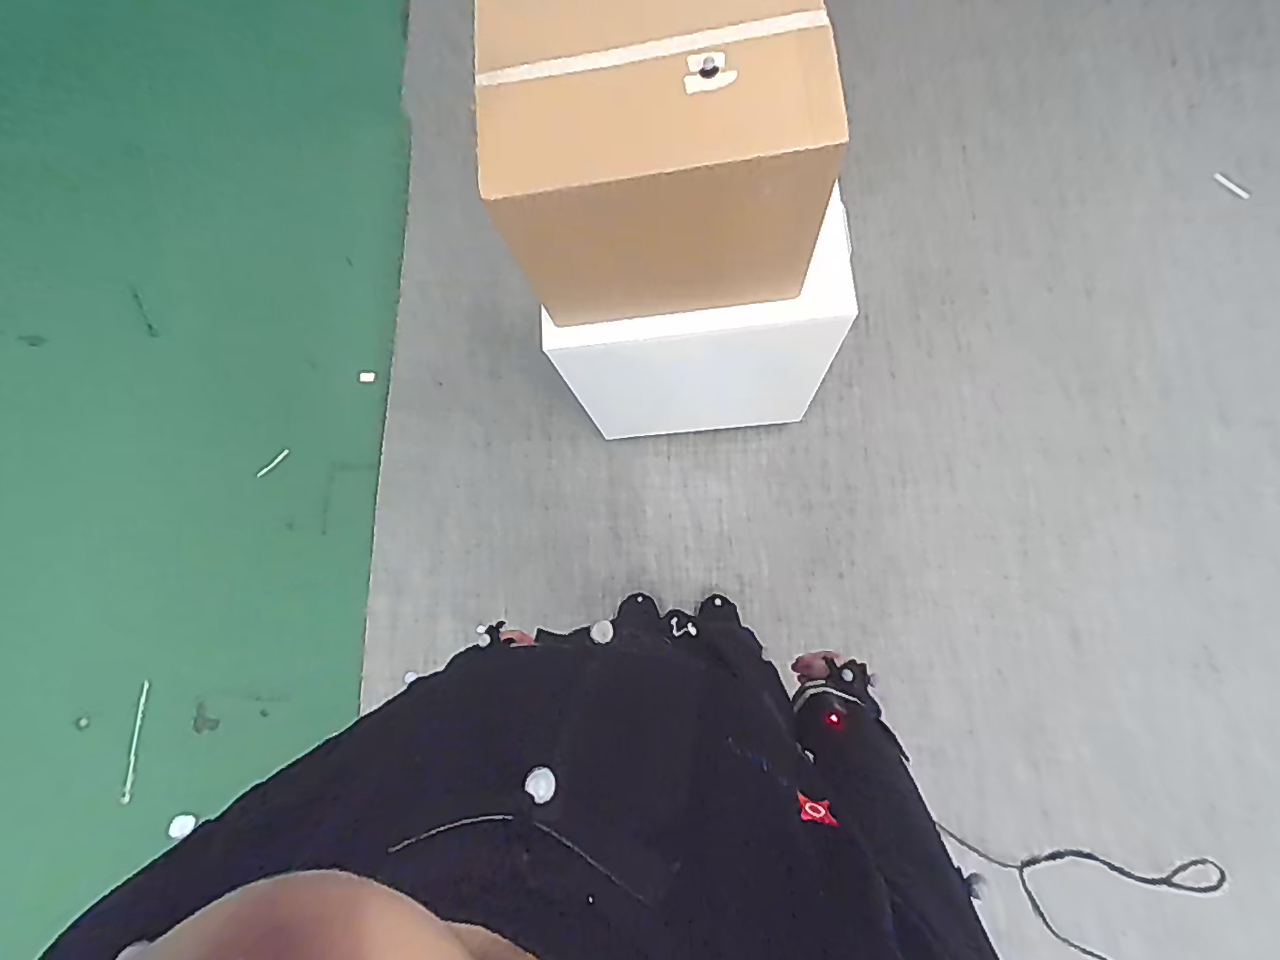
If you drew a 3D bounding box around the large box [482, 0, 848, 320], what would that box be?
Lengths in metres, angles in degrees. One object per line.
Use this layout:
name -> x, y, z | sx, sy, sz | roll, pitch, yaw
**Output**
large box -> 0.026, -0.458, 0.765 | 0.408, 0.320, 0.320 | -6, 79, 4
